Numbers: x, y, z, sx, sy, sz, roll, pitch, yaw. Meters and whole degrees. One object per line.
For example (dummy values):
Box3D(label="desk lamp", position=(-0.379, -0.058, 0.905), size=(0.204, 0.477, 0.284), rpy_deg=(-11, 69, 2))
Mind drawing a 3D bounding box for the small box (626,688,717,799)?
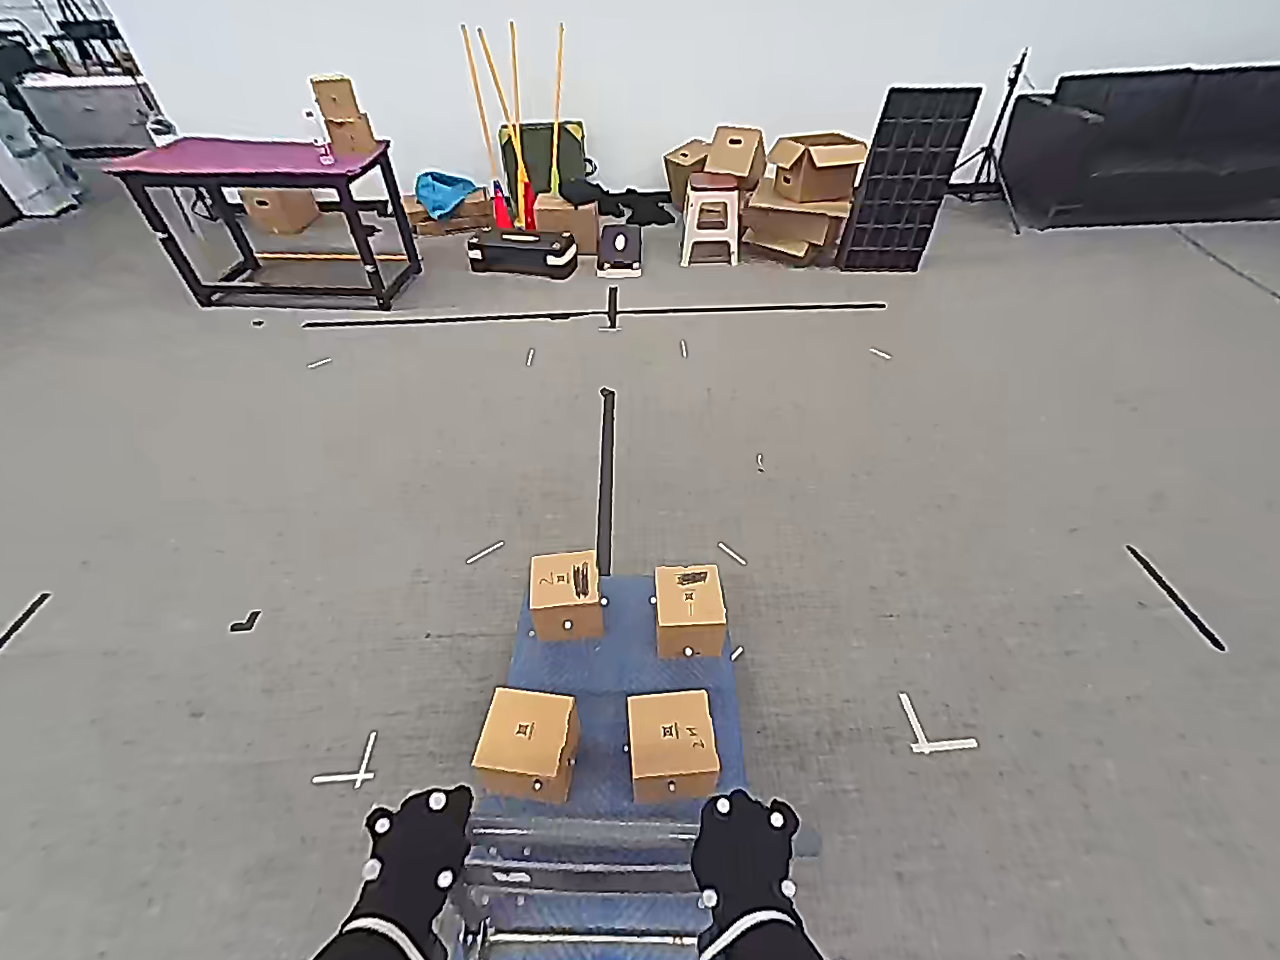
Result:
Box3D(label="small box", position=(0.064, 0.572, 1.168), size=(0.179, 0.176, 0.168), rpy_deg=(-3, 45, -3))

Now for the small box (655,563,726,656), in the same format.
Box3D(label="small box", position=(0.124, 0.336, 1.405), size=(0.168, 0.176, 0.179), rpy_deg=(-2, 45, 0))

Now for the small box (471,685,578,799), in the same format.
Box3D(label="small box", position=(-0.240, 0.570, 1.174), size=(0.179, 0.176, 0.168), rpy_deg=(6, 44, 5))
